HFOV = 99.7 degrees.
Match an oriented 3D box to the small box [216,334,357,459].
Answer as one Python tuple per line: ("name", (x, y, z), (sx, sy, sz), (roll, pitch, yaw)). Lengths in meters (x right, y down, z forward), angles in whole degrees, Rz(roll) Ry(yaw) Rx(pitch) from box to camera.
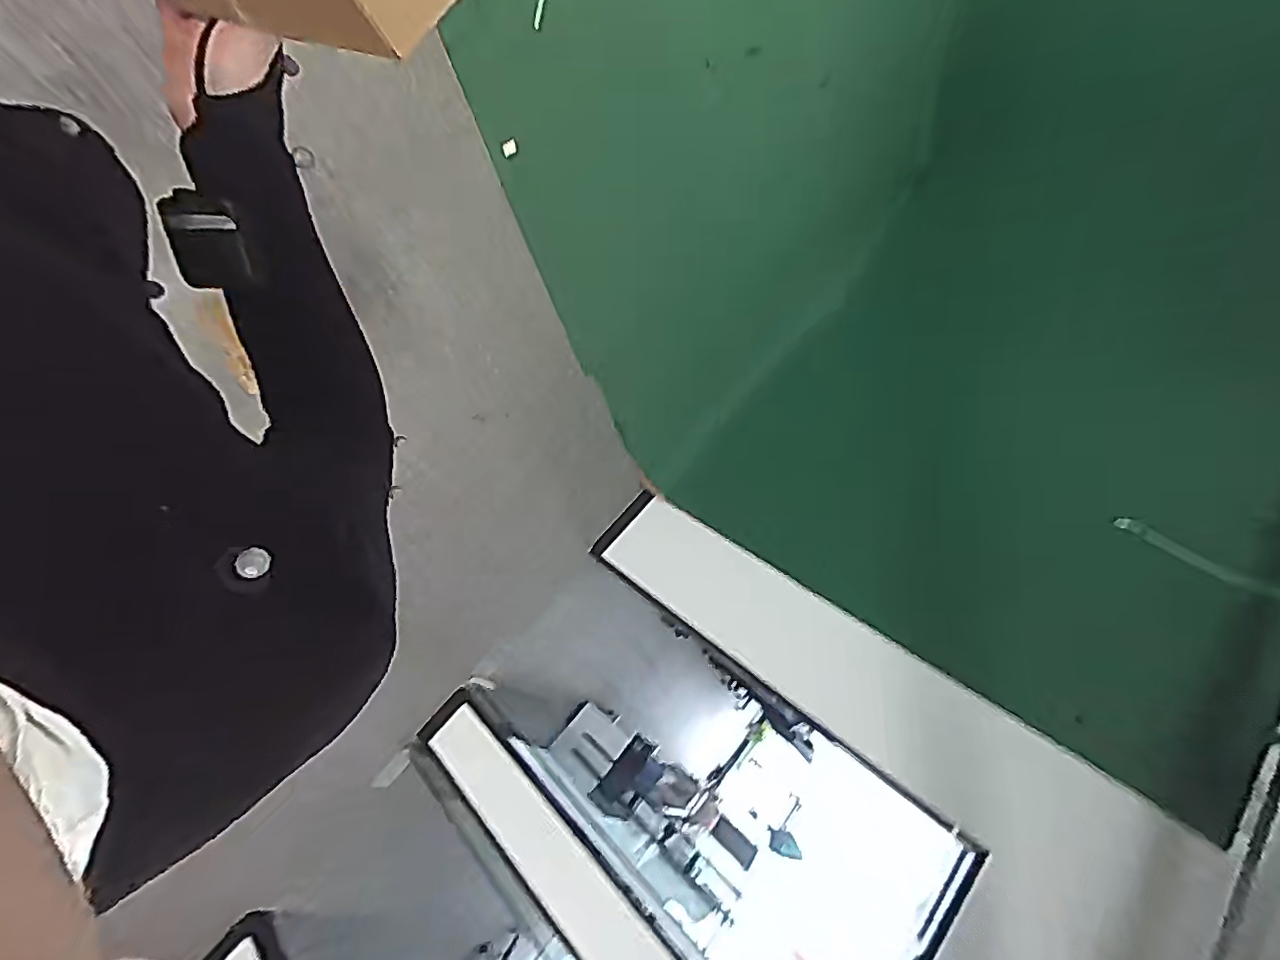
("small box", (-0.736, -0.178, 1.122), (0.179, 0.176, 0.168), (-37, 143, -32))

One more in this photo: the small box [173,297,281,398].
("small box", (-0.971, -0.326, 1.296), (0.168, 0.176, 0.179), (-30, 140, -36))

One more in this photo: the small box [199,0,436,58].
("small box", (-0.146, -0.296, 0.186), (0.168, 0.176, 0.179), (-53, 152, -7))
